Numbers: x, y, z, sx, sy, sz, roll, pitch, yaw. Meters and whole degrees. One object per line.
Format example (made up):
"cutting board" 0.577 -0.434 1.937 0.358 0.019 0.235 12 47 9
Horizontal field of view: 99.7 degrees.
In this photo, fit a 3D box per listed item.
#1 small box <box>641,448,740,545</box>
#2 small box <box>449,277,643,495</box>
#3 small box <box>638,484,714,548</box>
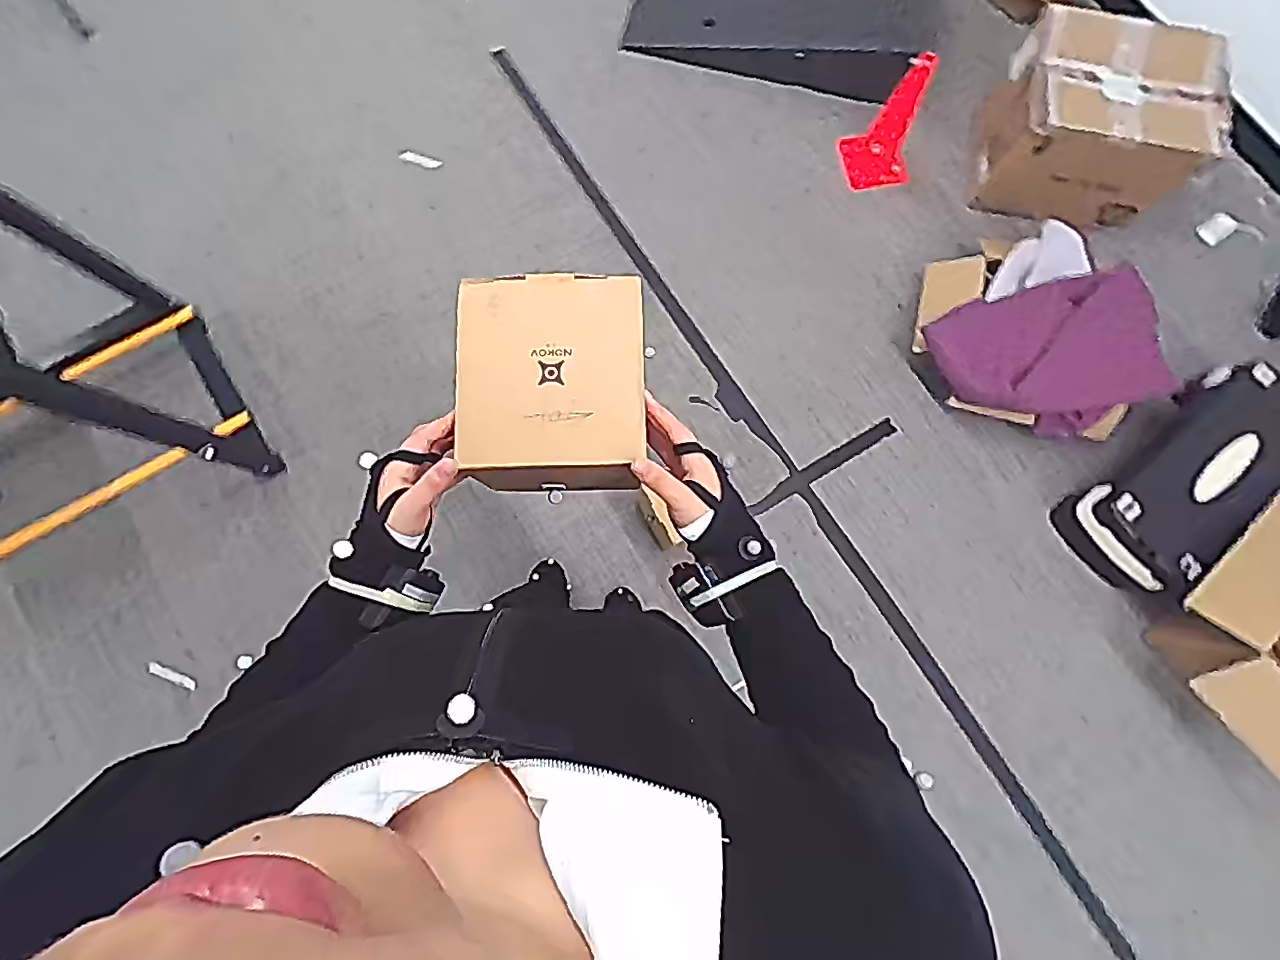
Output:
"small box" 0.111 0.045 1.300 0.179 0.176 0.168 -27 81 -6
"small box" -0.084 -0.083 0.549 0.168 0.176 0.179 -2 82 -2
"small box" 0.100 0.072 1.462 0.168 0.176 0.179 -27 82 -6
